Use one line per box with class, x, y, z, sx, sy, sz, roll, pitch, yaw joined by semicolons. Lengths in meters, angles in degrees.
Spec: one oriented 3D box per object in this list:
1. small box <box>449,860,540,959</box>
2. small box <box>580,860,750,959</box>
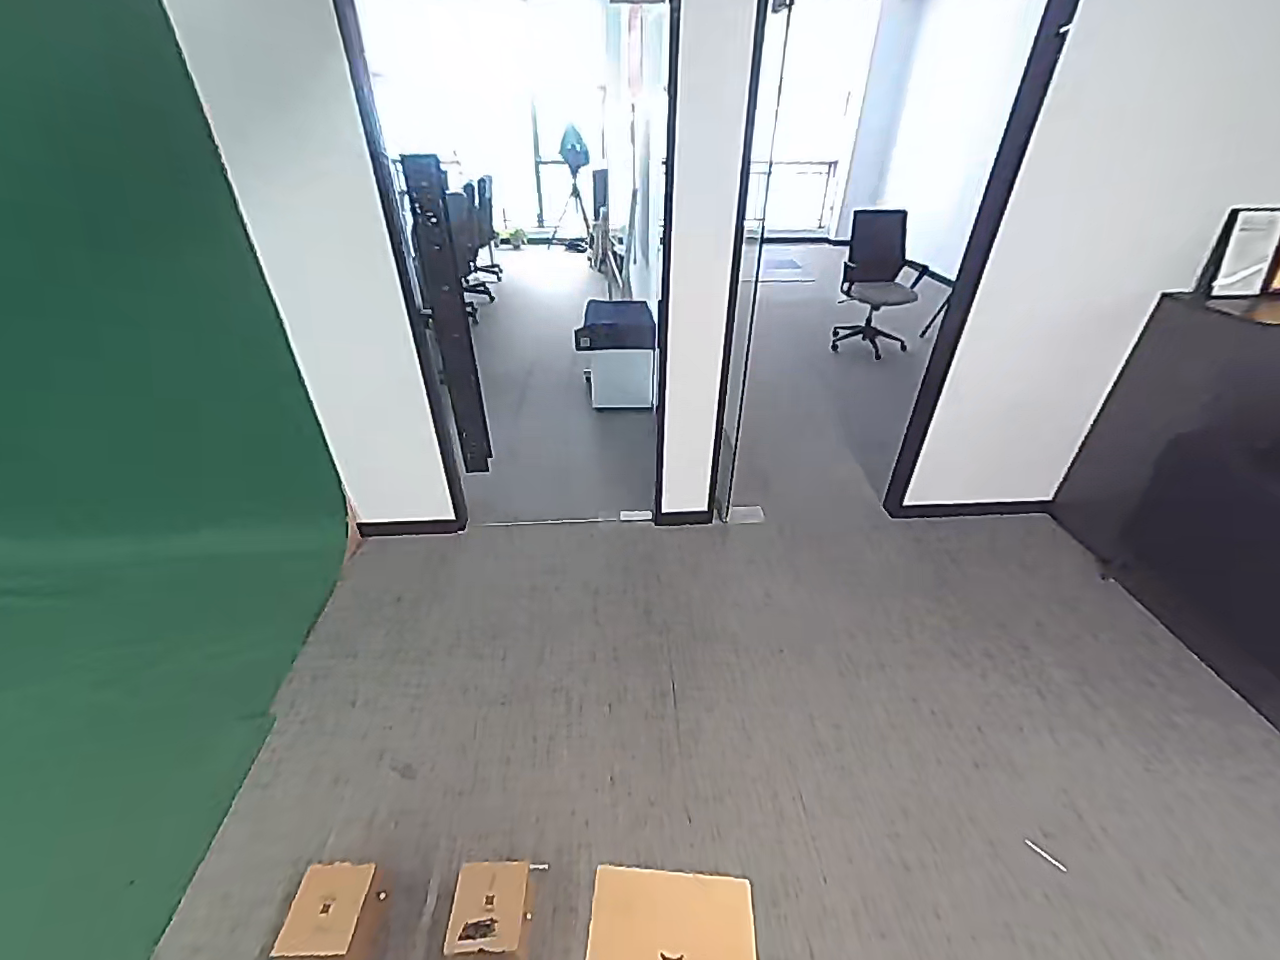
small box;-0.340;1.047;1.299;0.168;0.176;0.179;0;34;-1
small box;0.019;0.531;0.548;0.168;0.176;0.179;4;30;3
